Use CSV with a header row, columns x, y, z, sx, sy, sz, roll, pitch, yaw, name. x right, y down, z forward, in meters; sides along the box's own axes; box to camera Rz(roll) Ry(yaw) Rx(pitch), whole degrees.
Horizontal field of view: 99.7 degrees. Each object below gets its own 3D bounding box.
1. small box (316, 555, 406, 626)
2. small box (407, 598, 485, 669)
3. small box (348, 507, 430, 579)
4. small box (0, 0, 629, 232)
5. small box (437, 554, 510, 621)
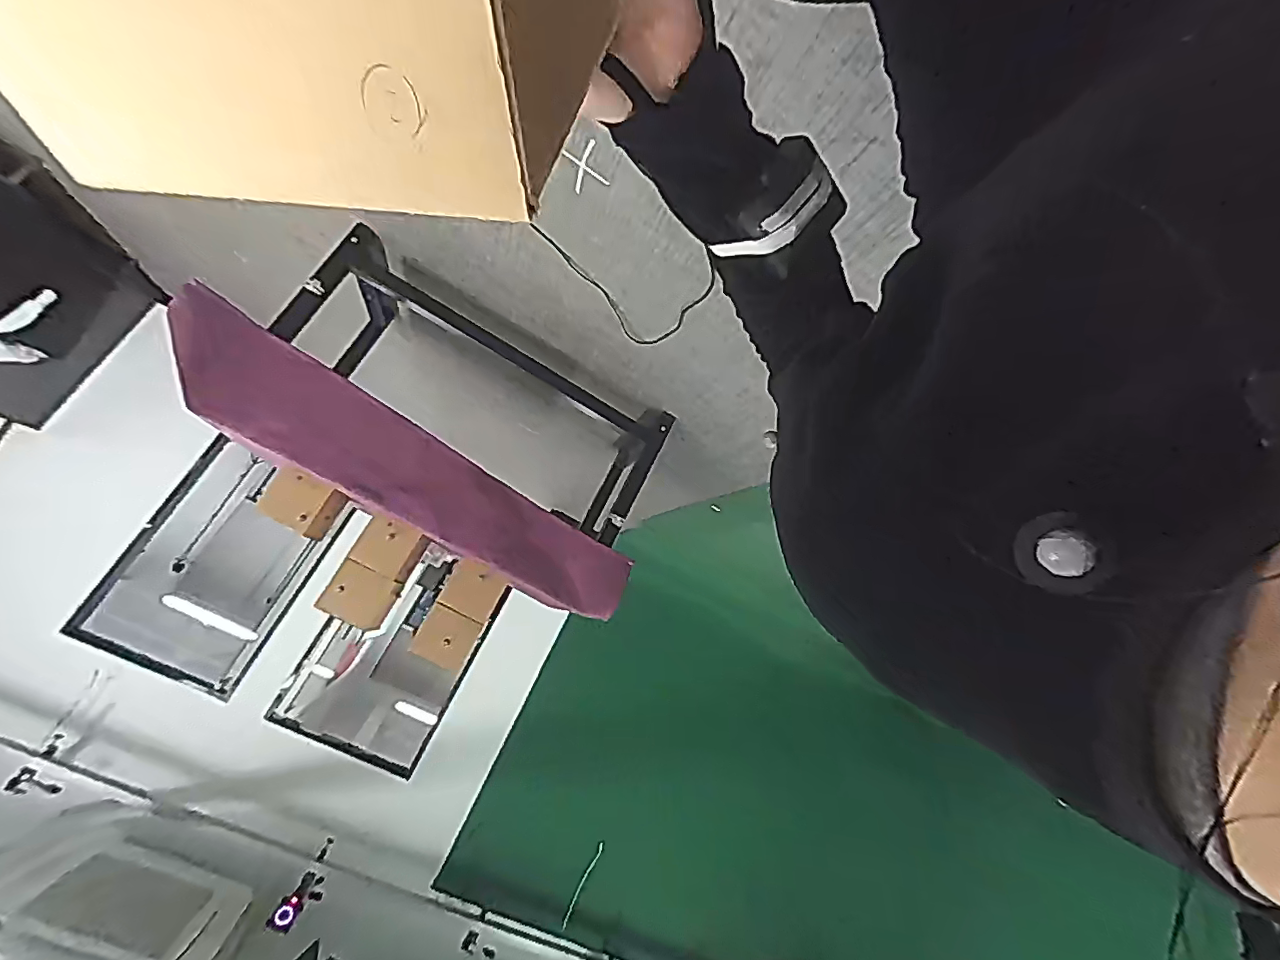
x,y,z,sx,sy,sz,roll,pitch,yaw,name
-0.884,0.349,1.729,0.179,0.176,0.168,28,163,-6,small box
-0.634,0.497,1.778,0.179,0.176,0.168,29,162,-9,small box
-0.817,0.209,1.782,0.168,0.176,0.179,28,161,-4,small box
-0.096,-0.213,0.172,0.168,0.176,0.179,7,146,4,small box
-0.562,0.358,1.829,0.179,0.176,0.168,30,162,-9,small box
